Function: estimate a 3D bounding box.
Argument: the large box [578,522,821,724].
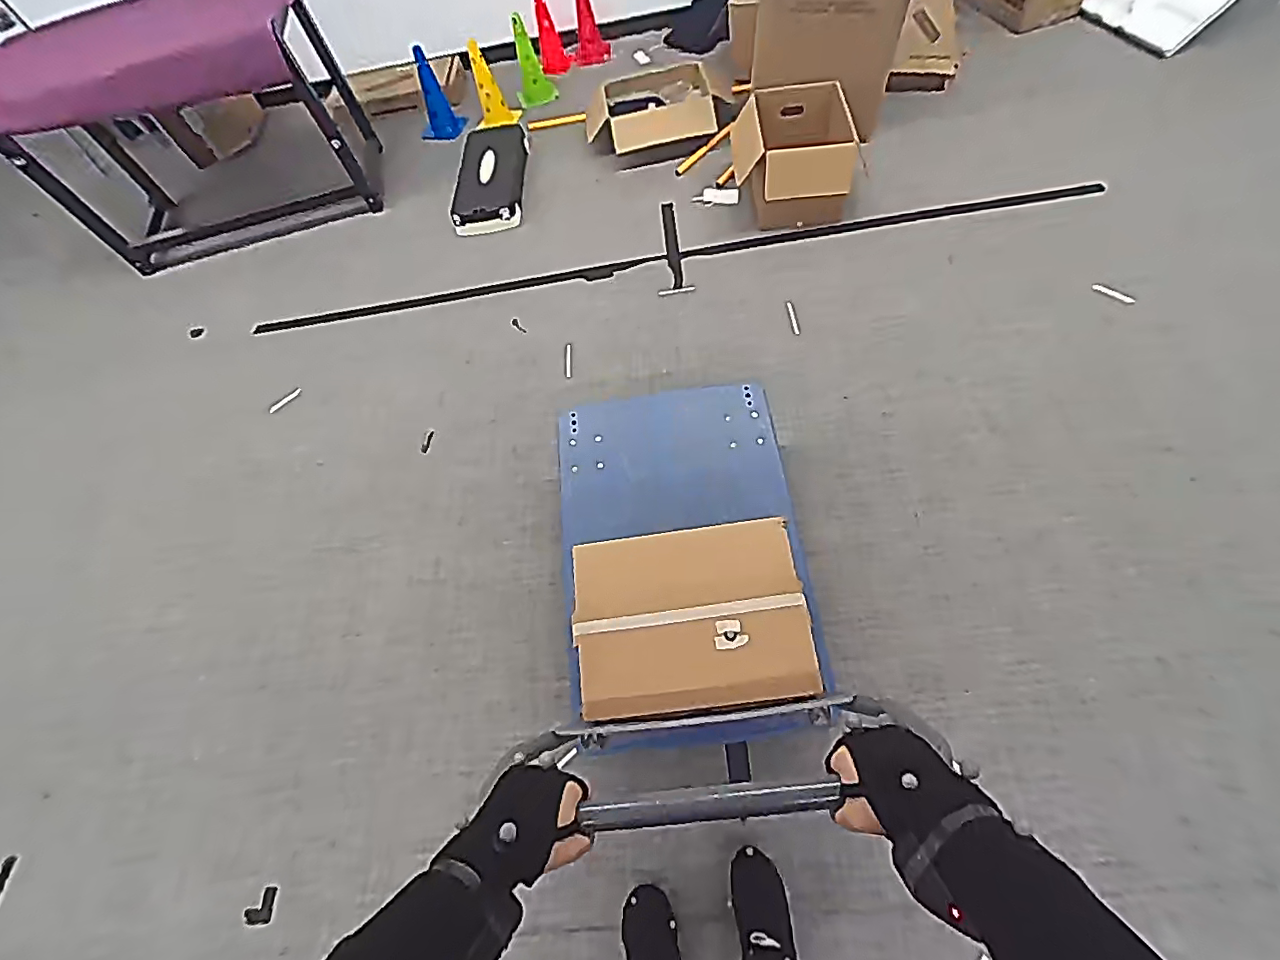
[{"bbox_3d":[0.107,0.308,1.112,0.408,0.320,0.320,-8,66,3],"label":"large box"}]
